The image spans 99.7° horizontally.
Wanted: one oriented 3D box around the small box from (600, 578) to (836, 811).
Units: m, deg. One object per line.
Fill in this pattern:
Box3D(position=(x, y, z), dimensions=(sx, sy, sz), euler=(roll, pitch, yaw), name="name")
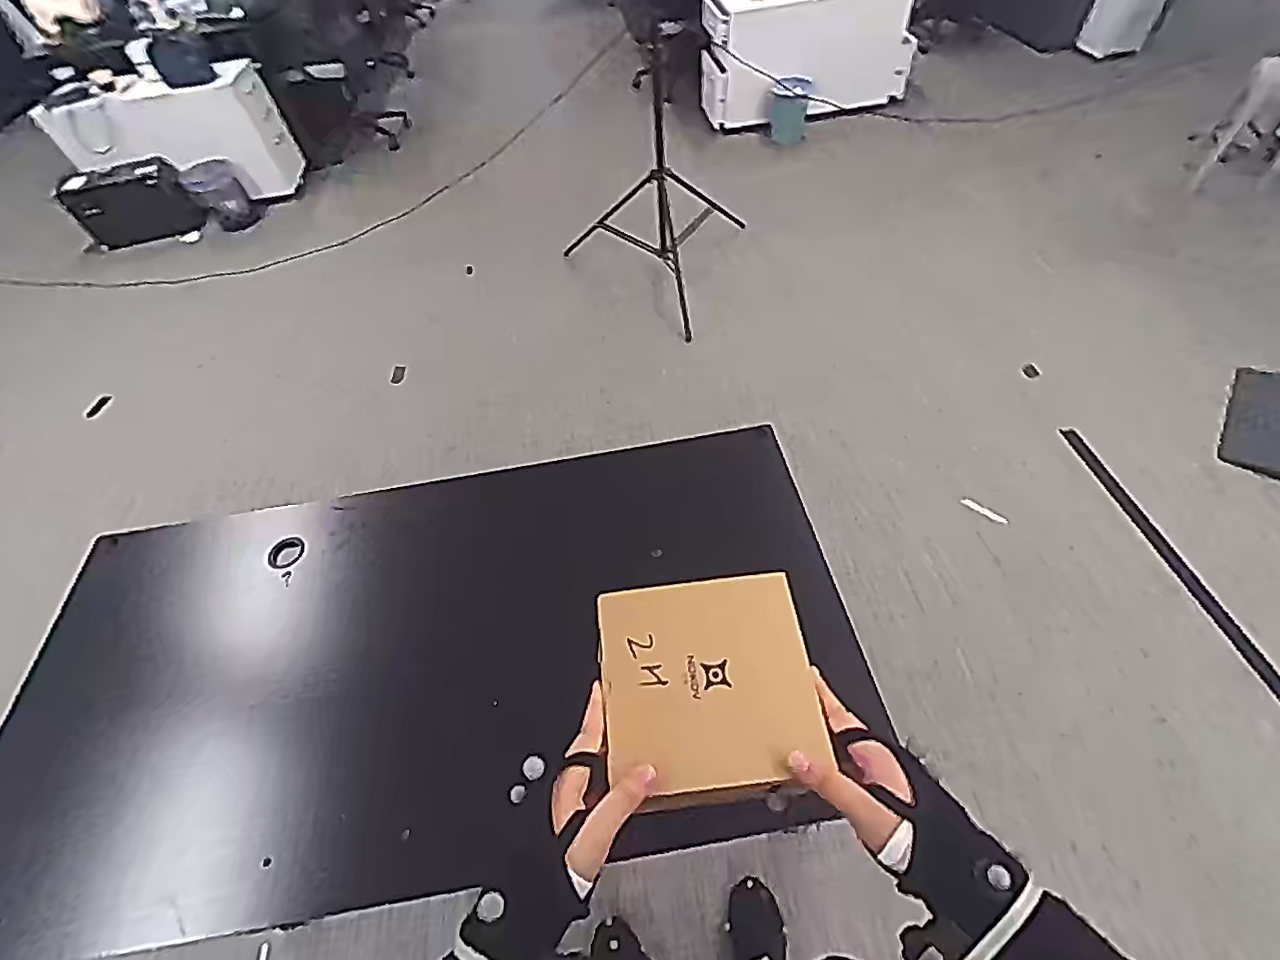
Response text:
Box3D(position=(0.061, 0.209, 0.514), dimensions=(0.179, 0.176, 0.168), euler=(-7, 55, 1), name="small box")
